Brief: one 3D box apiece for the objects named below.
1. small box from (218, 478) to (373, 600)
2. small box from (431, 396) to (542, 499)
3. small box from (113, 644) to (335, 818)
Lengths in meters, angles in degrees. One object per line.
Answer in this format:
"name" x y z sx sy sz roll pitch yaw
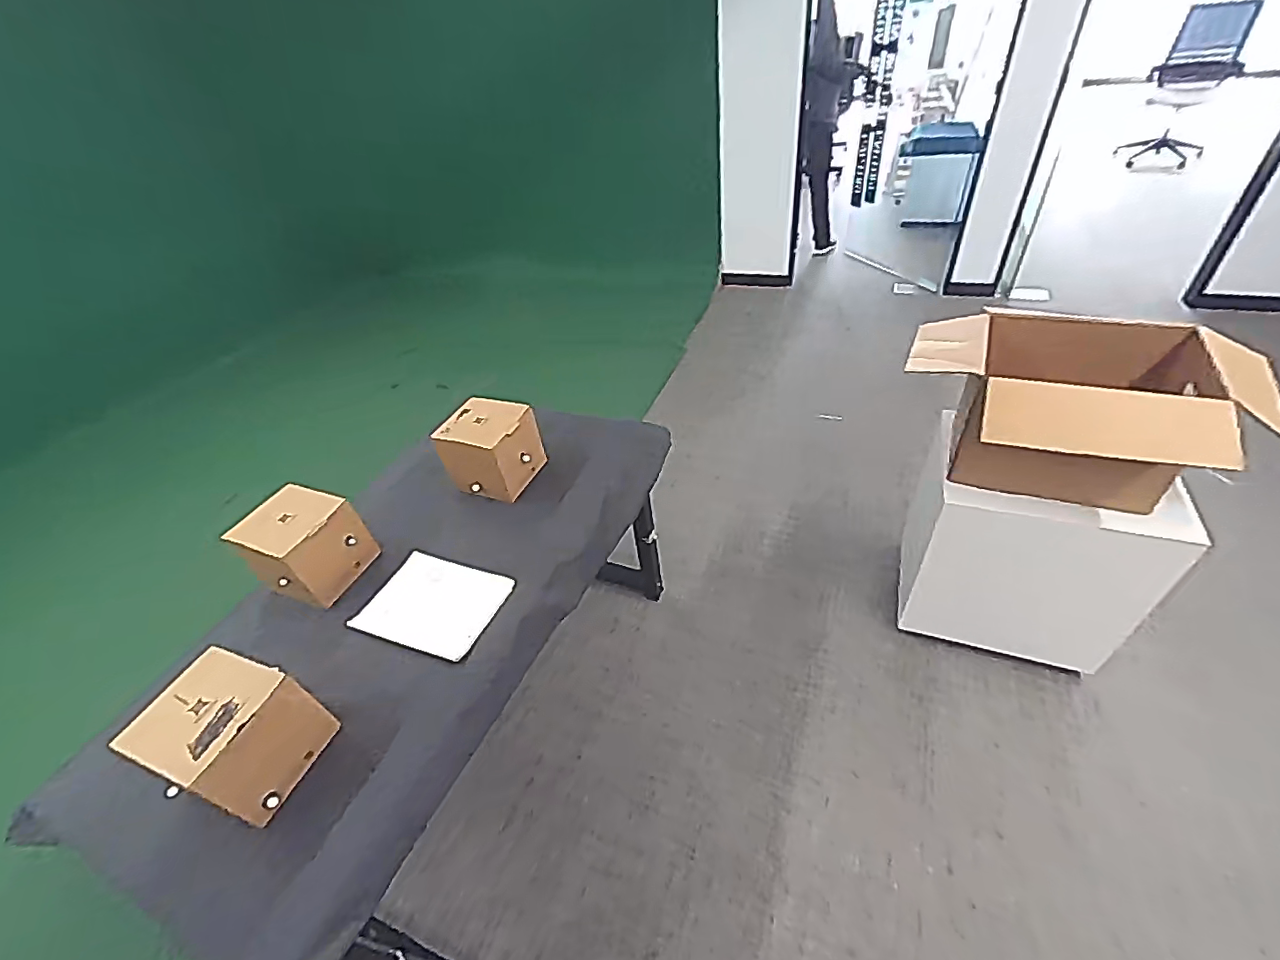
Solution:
"small box" -0.693 0.122 1.112 0.179 0.176 0.168 11 44 20
"small box" -0.356 -0.076 1.298 0.179 0.176 0.168 13 46 20
"small box" -0.619 0.387 0.830 0.179 0.176 0.168 10 44 19
